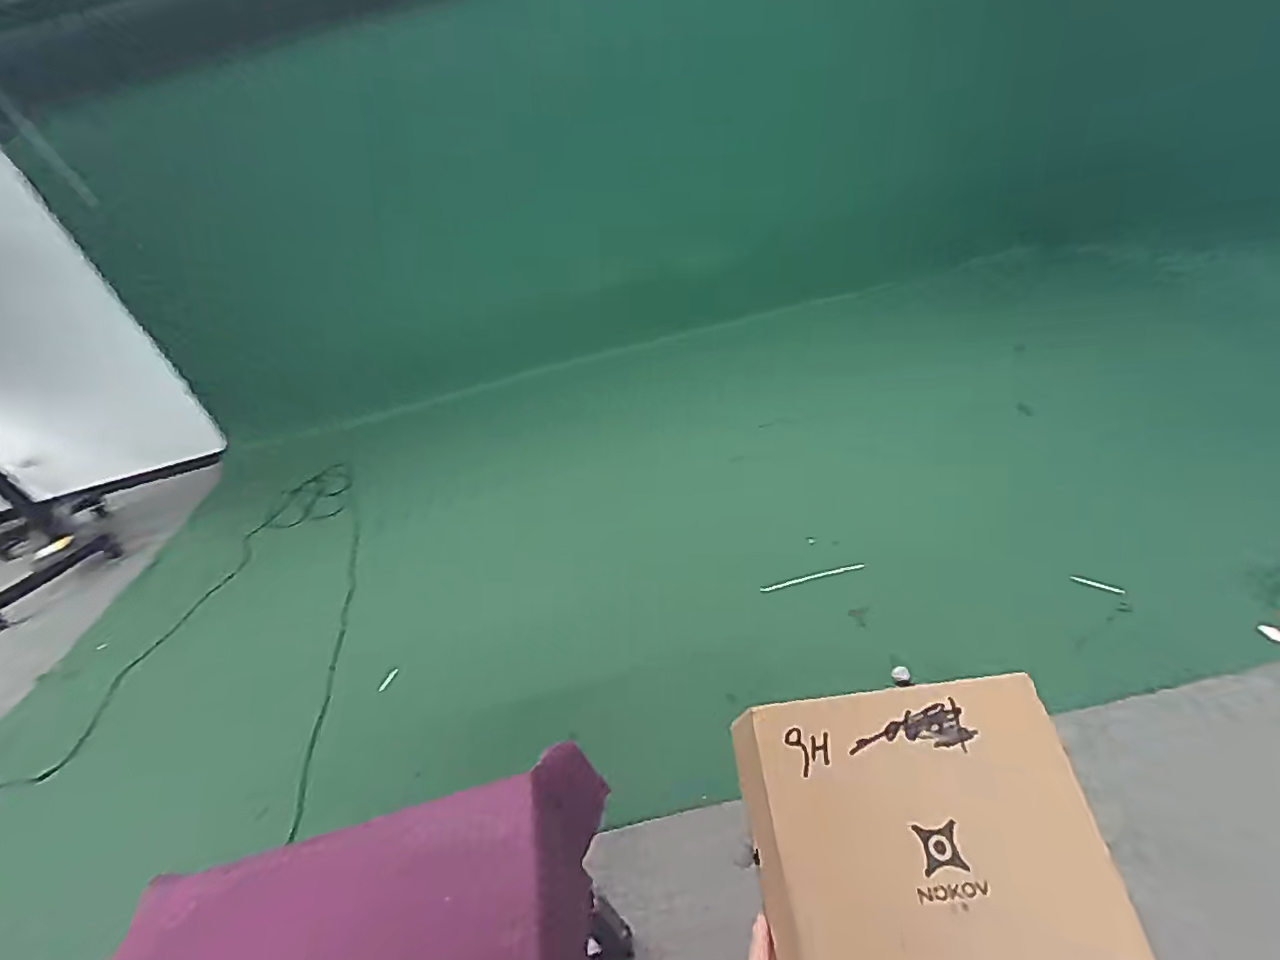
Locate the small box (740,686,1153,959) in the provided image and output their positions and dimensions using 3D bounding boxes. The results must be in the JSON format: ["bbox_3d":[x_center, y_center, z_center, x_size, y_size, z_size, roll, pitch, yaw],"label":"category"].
[{"bbox_3d":[0.166,0.240,0.349,0.168,0.176,0.179,-7,63,1],"label":"small box"}]
